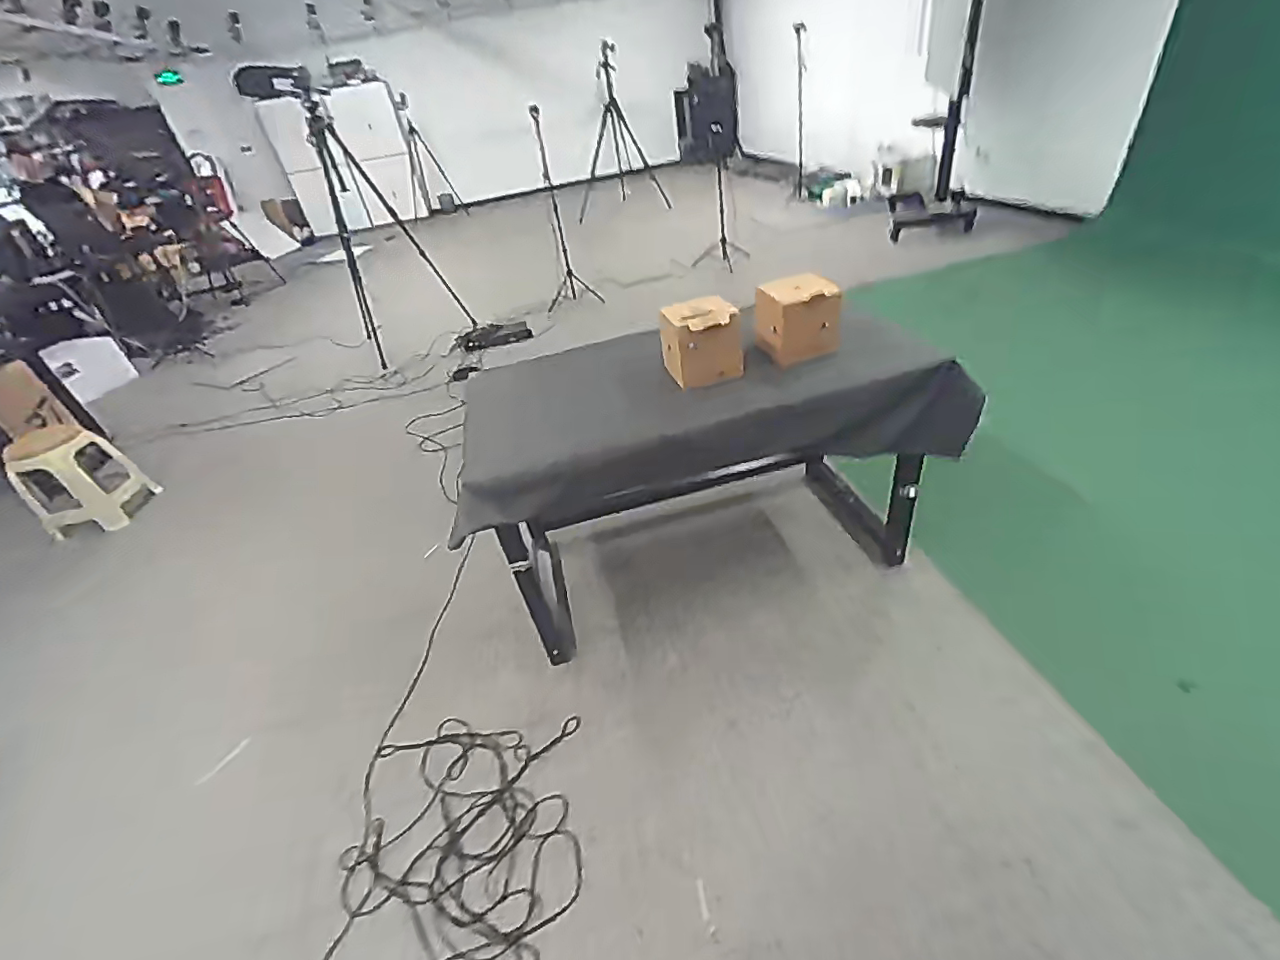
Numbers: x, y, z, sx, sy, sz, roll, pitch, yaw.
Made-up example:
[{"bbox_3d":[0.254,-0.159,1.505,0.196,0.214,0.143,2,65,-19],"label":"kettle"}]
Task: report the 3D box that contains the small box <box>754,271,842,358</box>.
[{"bbox_3d":[0.417,-0.437,1.440,0.168,0.176,0.179,-15,36,-7],"label":"small box"}]
